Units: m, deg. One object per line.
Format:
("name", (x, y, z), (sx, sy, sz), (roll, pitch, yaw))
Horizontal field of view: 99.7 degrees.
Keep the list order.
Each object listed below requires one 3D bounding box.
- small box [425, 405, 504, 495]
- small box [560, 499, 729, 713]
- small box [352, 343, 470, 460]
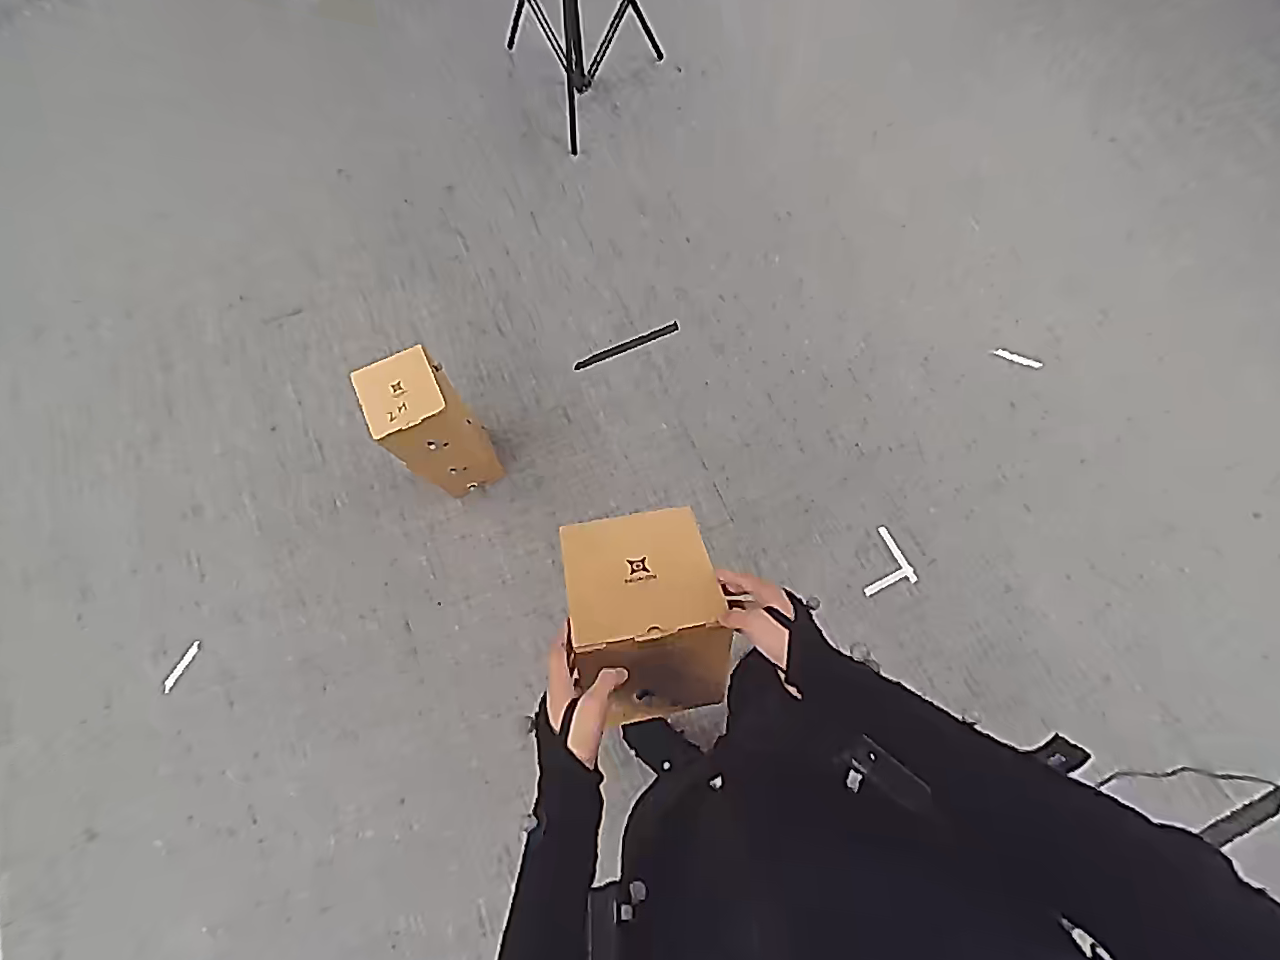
("small box", (-0.510, -0.081, 1.547), (0.168, 0.176, 0.179), (-25, 74, -7))
("small box", (-0.003, 0.149, 0.654), (0.168, 0.176, 0.179), (-8, 41, -8))
("small box", (-0.514, -0.172, 1.232), (0.168, 0.176, 0.179), (-25, 75, -6))
